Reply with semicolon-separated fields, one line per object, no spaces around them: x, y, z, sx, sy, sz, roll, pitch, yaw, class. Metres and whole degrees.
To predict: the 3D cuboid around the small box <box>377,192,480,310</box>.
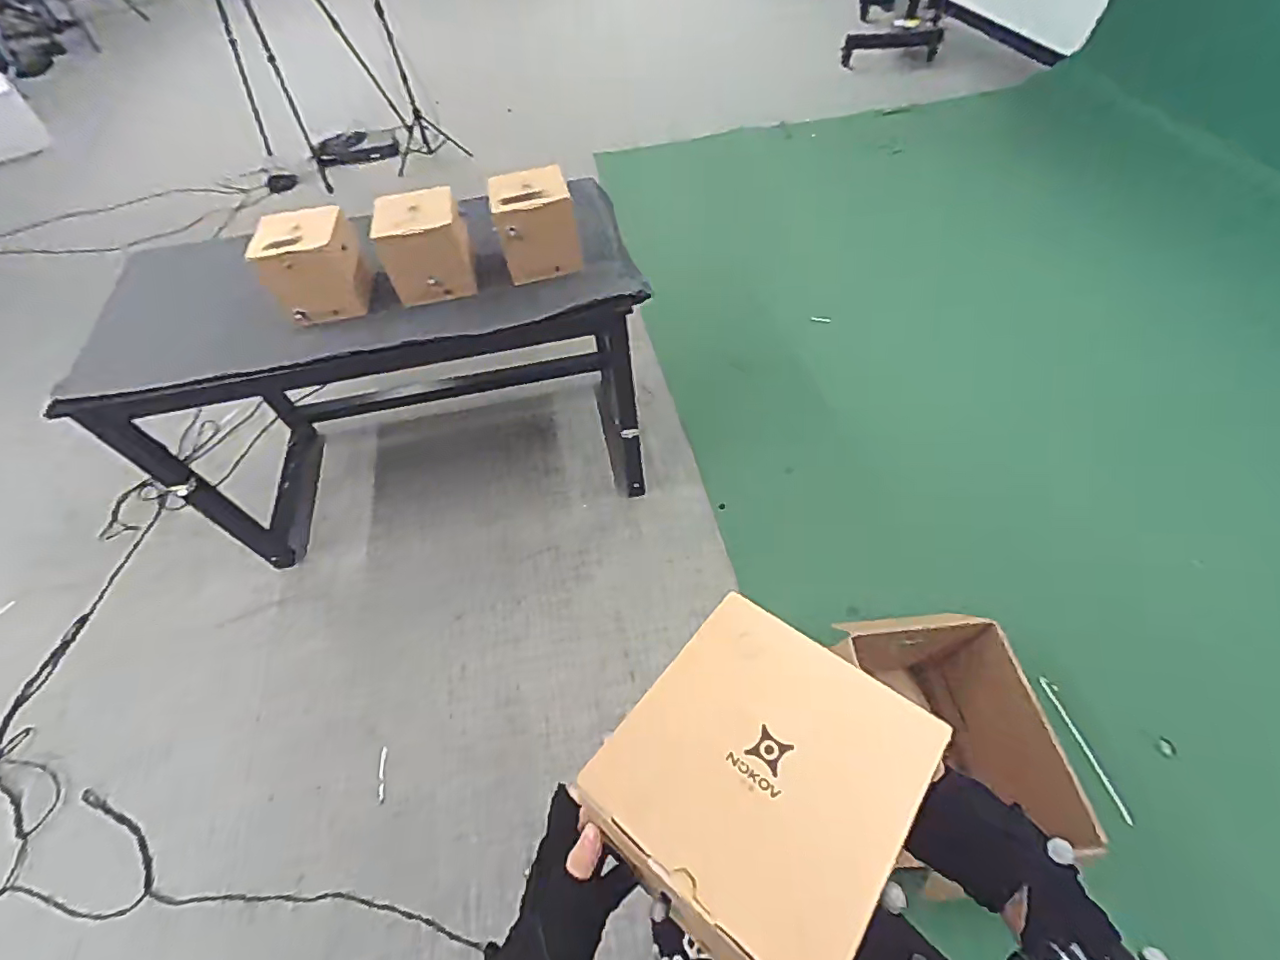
-0.463;-0.509;1.208;0.168;0.176;0.179;-13;54;-4;small box

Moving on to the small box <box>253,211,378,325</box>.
-0.700;-0.459;1.191;0.168;0.176;0.179;-11;53;-4;small box

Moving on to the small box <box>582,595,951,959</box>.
0.083;0.225;0.386;0.168;0.176;0.179;28;55;28;small box
